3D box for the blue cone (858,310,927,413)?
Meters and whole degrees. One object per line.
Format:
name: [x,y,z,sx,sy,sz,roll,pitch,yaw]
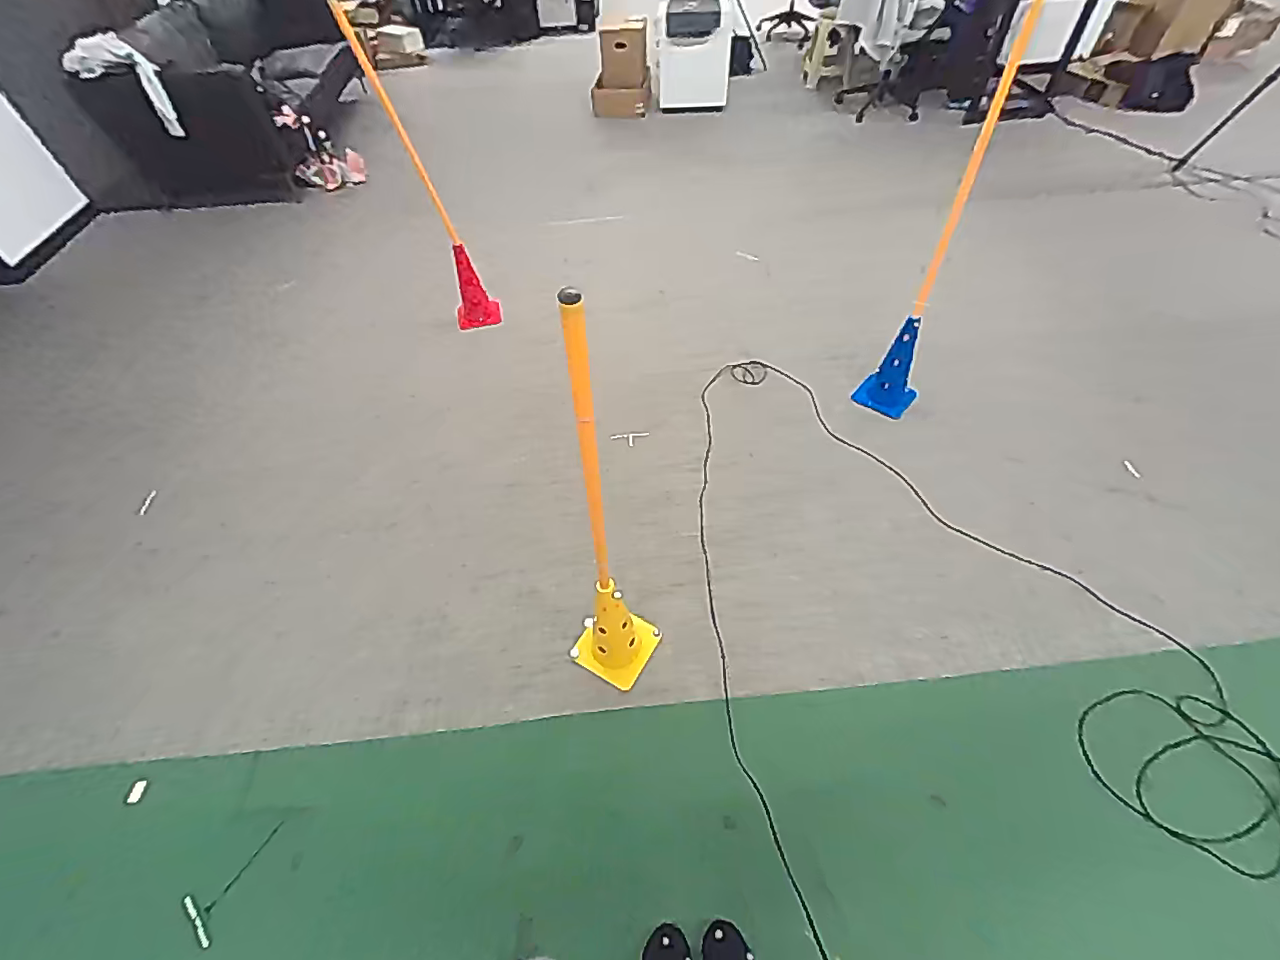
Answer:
blue cone: [0.961,-0.452,1.994,0.192,0.380,0.193,31,56,26]
